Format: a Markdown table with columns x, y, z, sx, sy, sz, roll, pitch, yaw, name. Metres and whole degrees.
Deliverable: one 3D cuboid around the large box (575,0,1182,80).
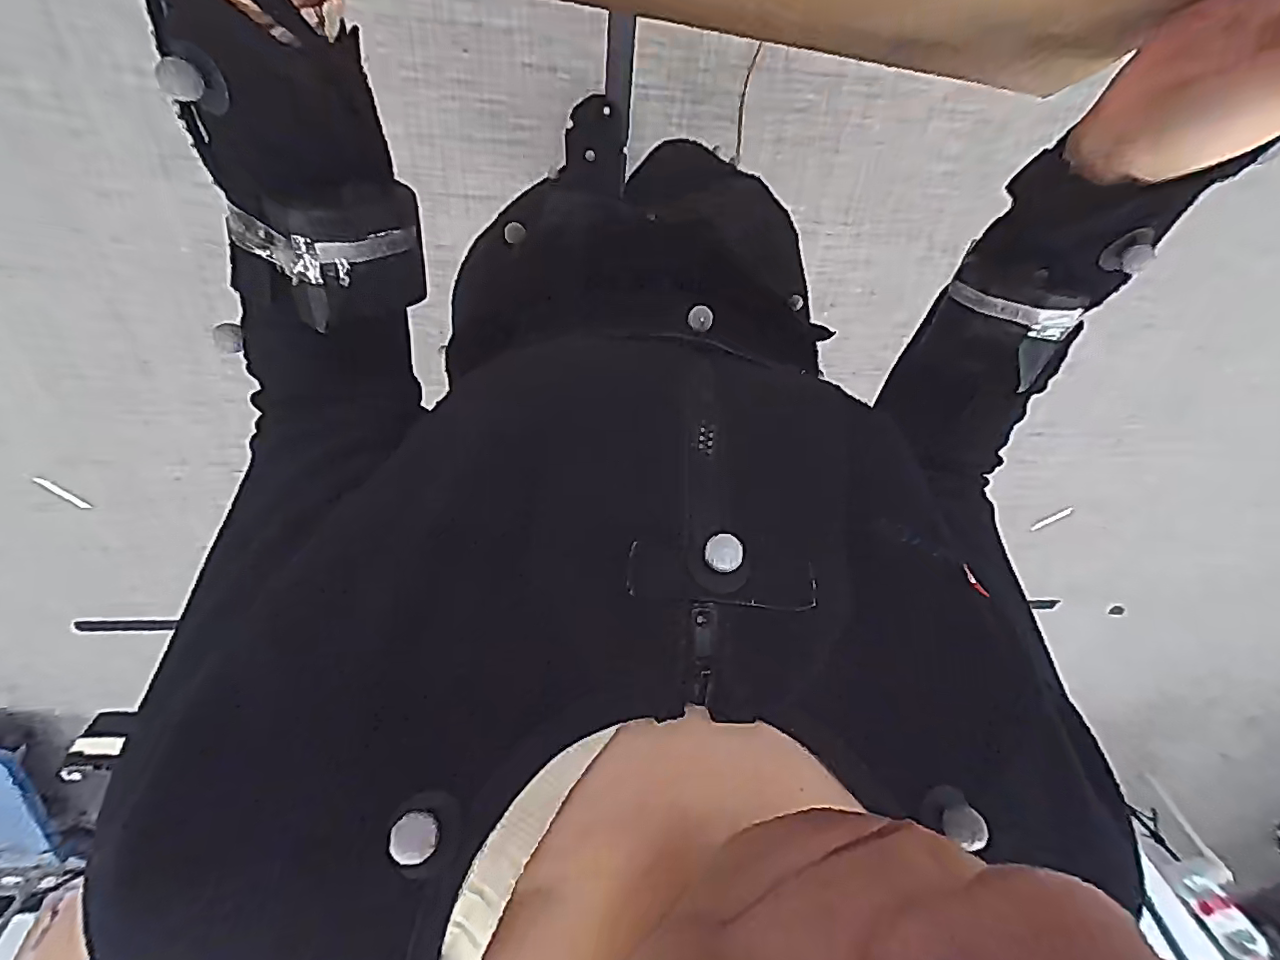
| x | y | z | sx | sy | sz | roll | pitch | yaw | name |
| --- | --- | --- | --- | --- | --- | --- | --- | --- | --- |
| 0.074 | -0.368 | 0.124 | 0.408 | 0.320 | 0.320 | 4 | 103 | -8 | large box |
